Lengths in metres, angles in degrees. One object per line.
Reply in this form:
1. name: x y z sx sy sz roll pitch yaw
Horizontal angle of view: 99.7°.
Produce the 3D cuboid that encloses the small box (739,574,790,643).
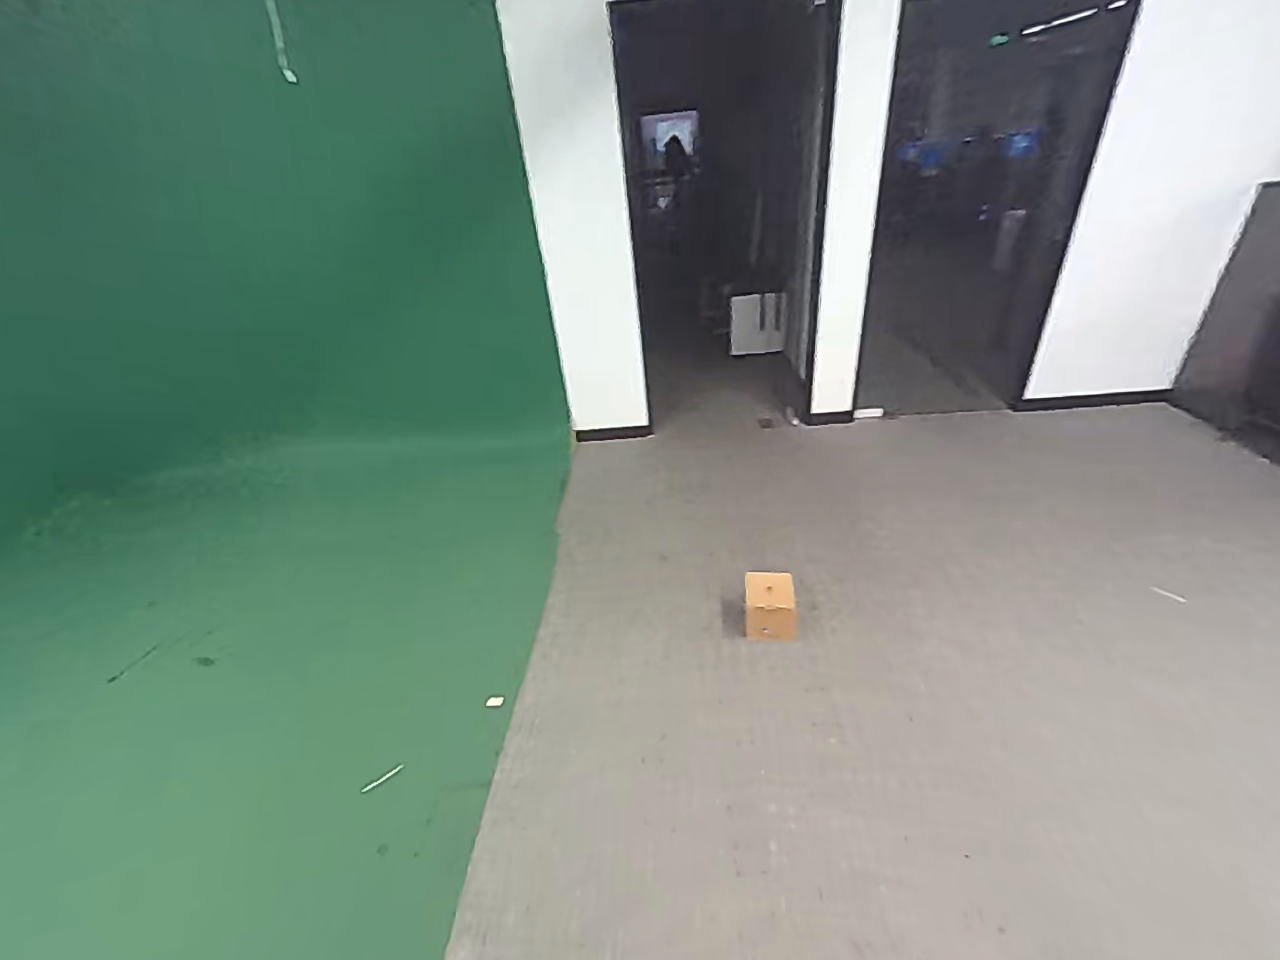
1. small box: 0.446 0.463 1.958 0.168 0.176 0.179 0 33 9
